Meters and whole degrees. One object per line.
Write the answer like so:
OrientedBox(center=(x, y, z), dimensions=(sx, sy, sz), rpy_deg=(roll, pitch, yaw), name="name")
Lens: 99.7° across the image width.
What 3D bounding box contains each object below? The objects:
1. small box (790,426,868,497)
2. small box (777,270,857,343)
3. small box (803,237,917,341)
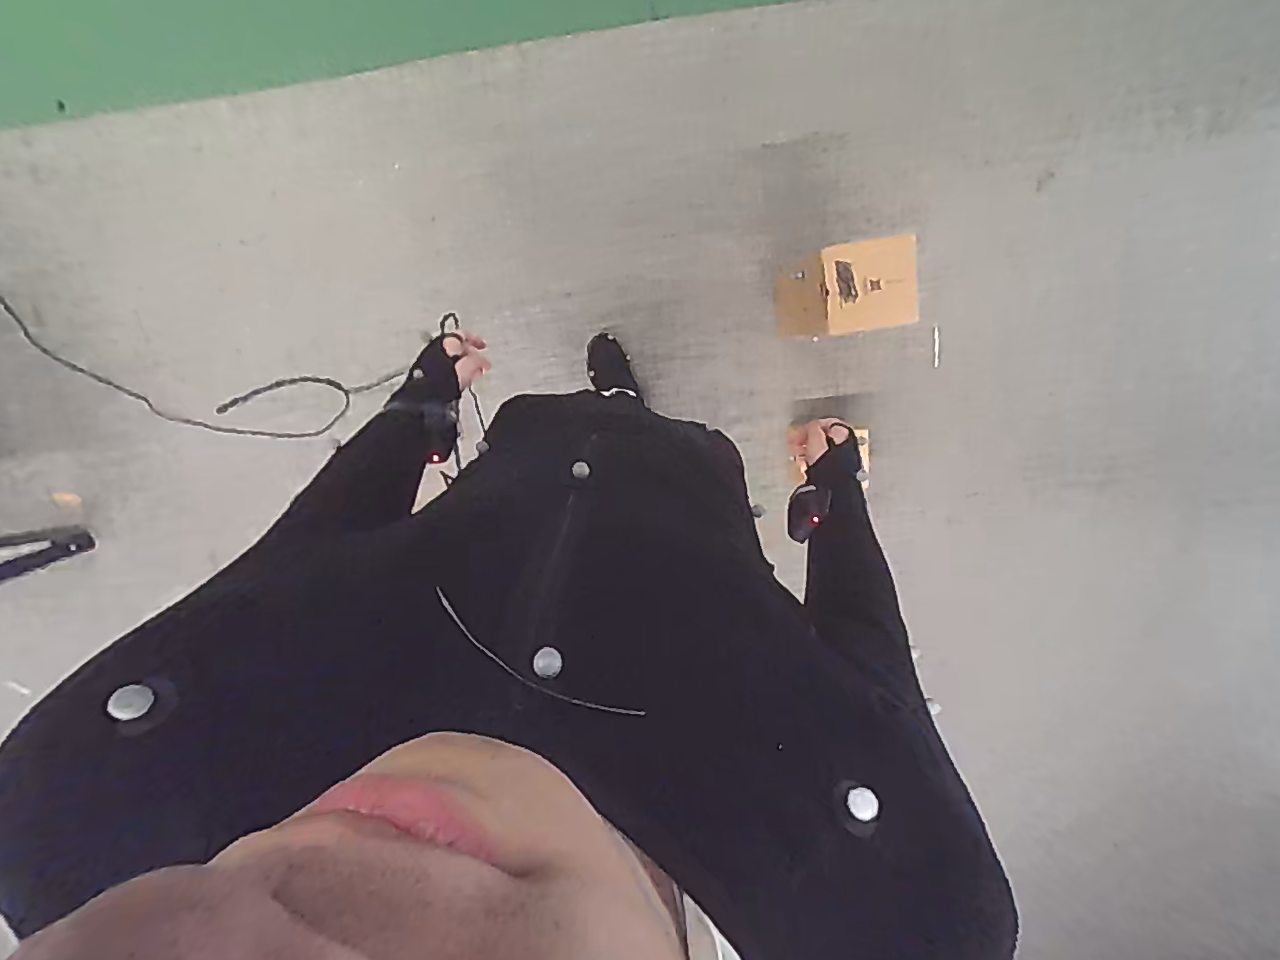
OrientedBox(center=(0.525, -0.056, 1.521), dimensions=(0.179, 0.176, 0.168), rpy_deg=(-5, 104, 4), name="small box")
OrientedBox(center=(0.464, -0.459, 1.429), dimensions=(0.168, 0.176, 0.179), rpy_deg=(-6, 105, 3), name="small box")
OrientedBox(center=(0.441, -0.382, 1.109), dimensions=(0.179, 0.176, 0.168), rpy_deg=(-8, 103, 3), name="small box")
